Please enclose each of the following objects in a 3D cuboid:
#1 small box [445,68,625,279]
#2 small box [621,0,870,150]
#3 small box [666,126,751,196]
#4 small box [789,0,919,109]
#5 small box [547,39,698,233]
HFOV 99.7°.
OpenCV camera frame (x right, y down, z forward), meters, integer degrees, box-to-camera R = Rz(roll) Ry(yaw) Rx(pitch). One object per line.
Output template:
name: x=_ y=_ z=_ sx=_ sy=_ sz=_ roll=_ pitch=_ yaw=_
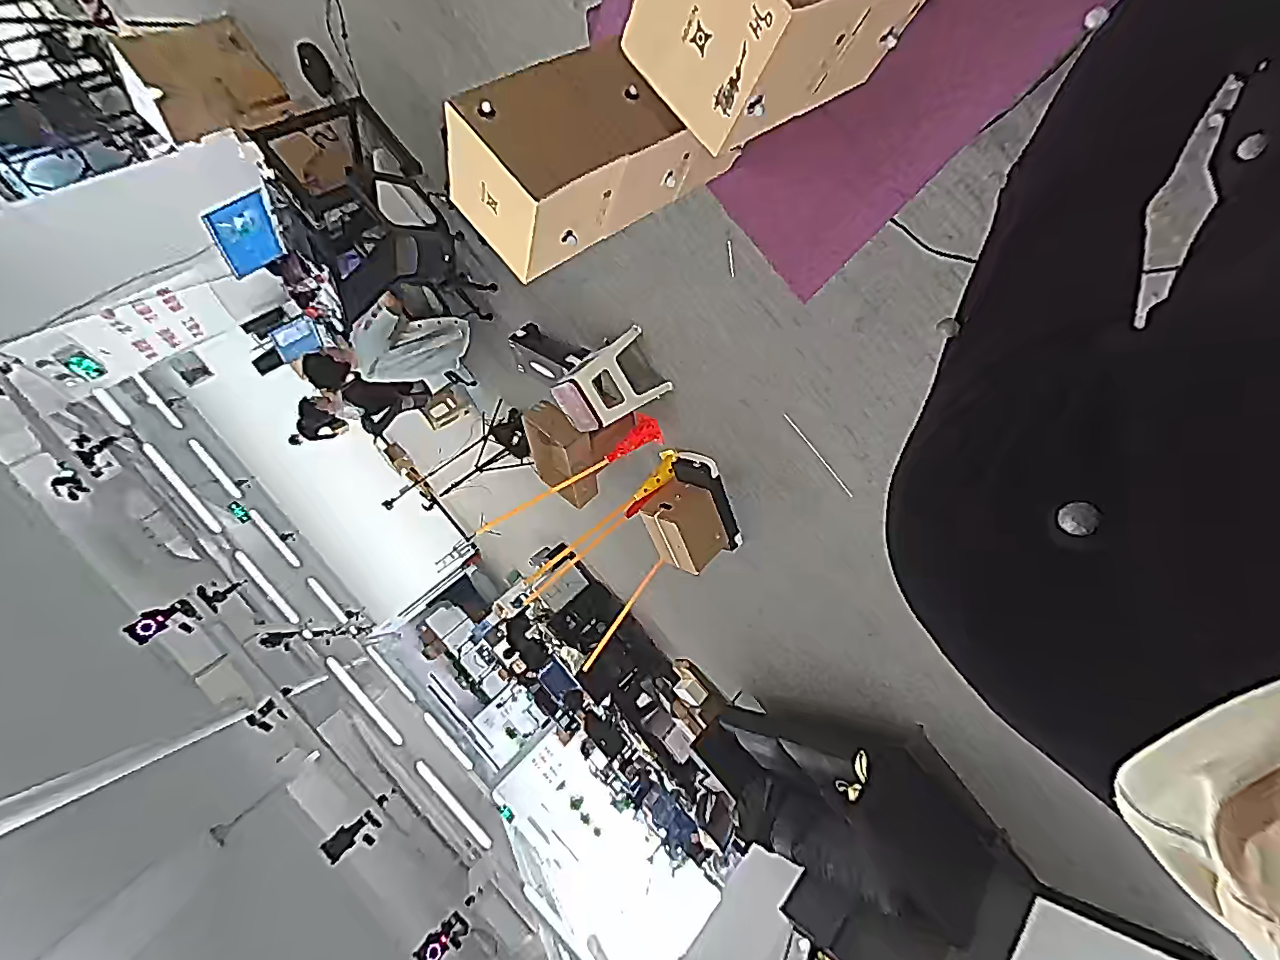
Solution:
small box: x=-0.147 y=-0.432 z=0.765 sx=0.179 sy=0.176 sz=0.168 roll=49 pitch=157 yaw=1
small box: x=0.114 y=-0.517 z=0.595 sx=0.179 sy=0.176 sz=0.168 roll=50 pitch=156 yaw=0
small box: x=0.078 y=-0.625 z=0.899 sx=0.179 sy=0.176 sz=0.168 roll=48 pitch=156 yaw=0
small box: x=0.229 y=-0.613 z=0.663 sx=0.179 sy=0.176 sz=0.168 roll=50 pitch=156 yaw=-1
small box: x=-0.035 y=-0.529 z=0.831 sx=0.179 sy=0.176 sz=0.168 roll=48 pitch=156 yaw=0
